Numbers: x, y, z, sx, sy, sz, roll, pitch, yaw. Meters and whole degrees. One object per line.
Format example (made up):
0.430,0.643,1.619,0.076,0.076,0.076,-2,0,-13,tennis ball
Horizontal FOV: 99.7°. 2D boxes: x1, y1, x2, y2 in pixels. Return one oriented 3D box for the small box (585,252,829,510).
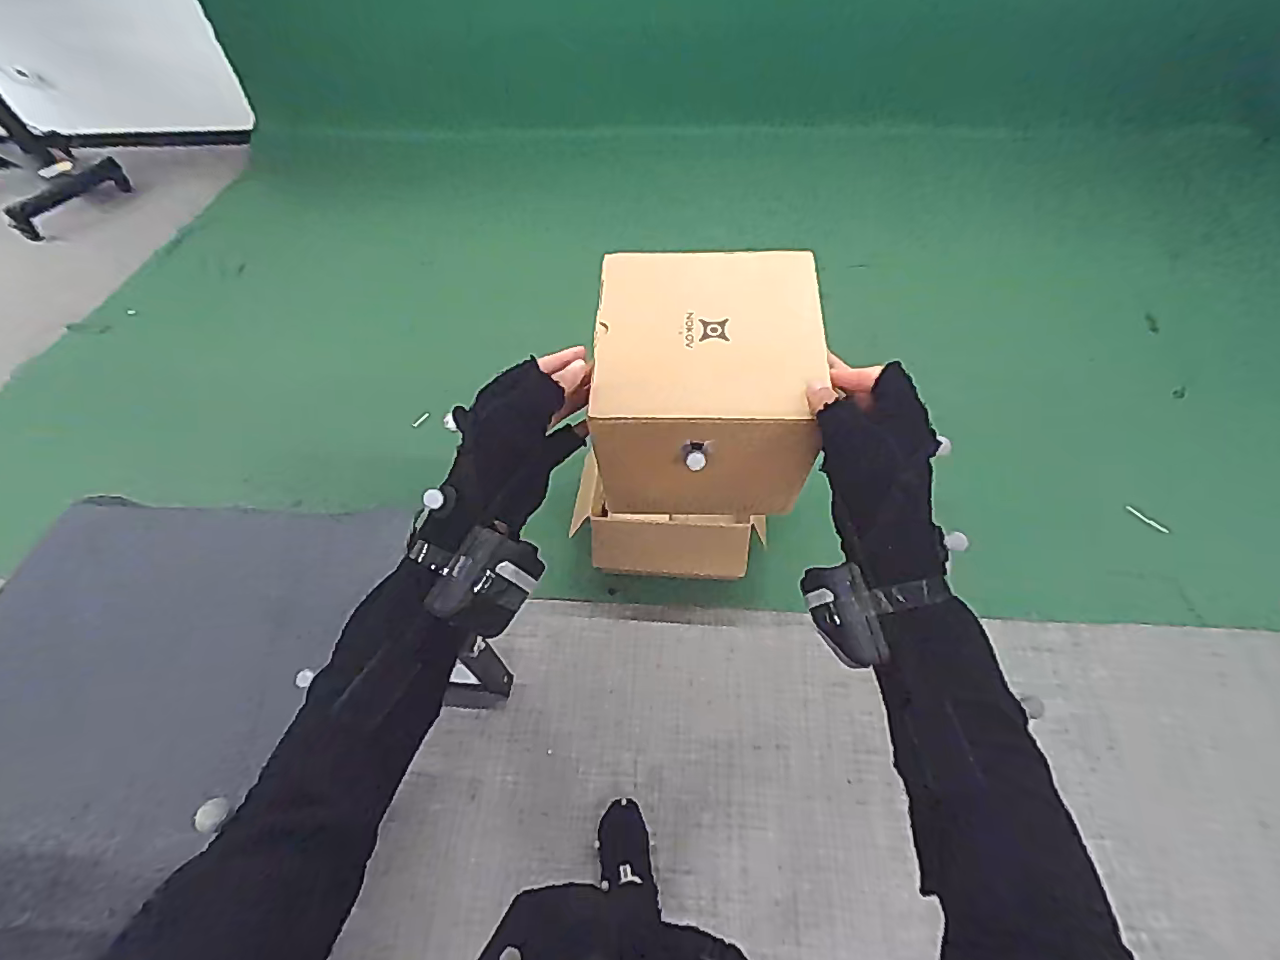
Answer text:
0.054,-0.080,0.489,0.179,0.176,0.168,0,63,4,small box
